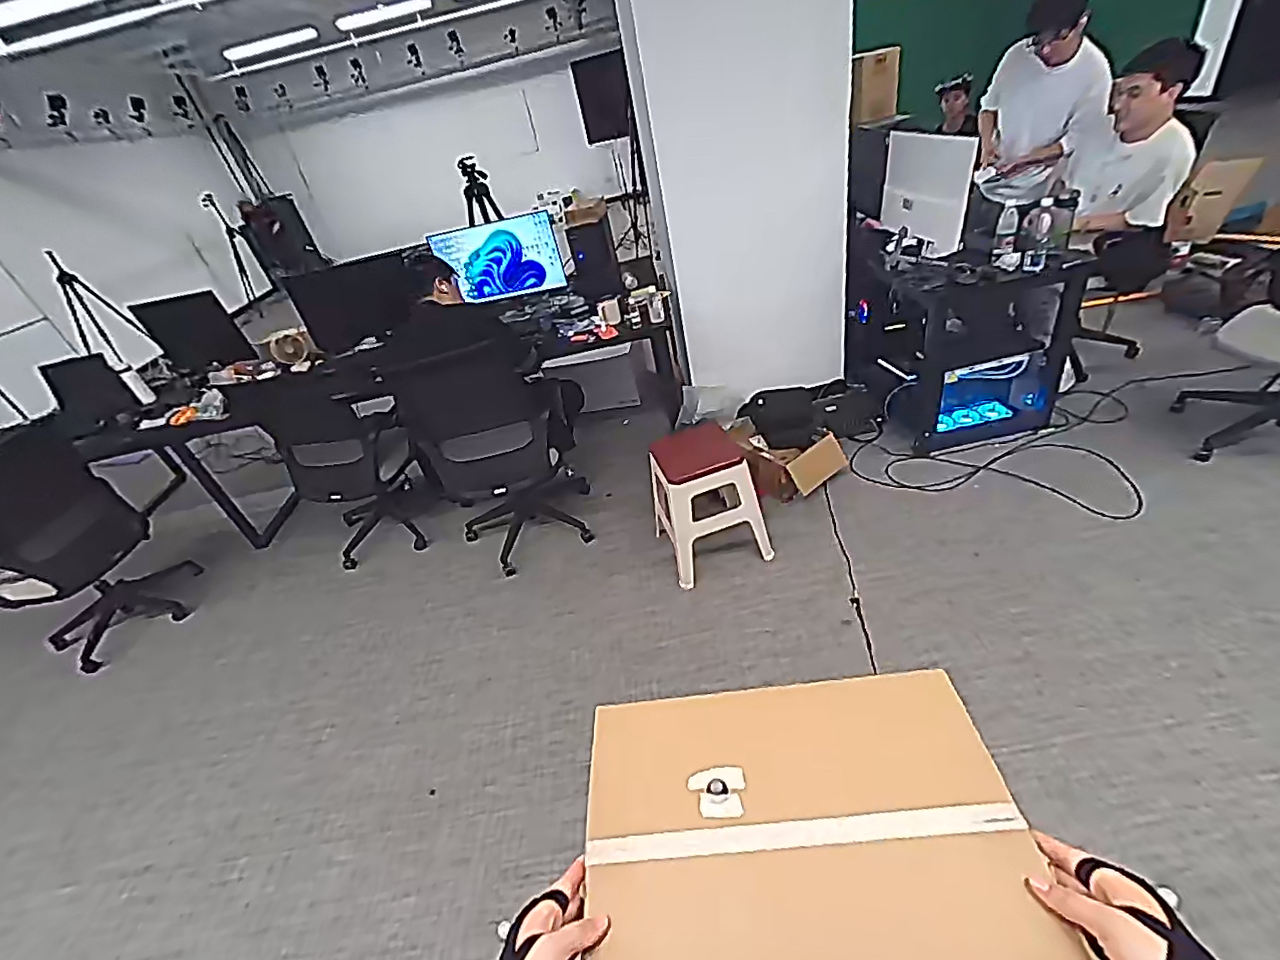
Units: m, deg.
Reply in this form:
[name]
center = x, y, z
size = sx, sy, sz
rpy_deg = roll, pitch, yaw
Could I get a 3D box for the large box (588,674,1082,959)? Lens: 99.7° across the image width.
[large box]
center = 0.177, 0.464, 0.604
size = 0.408, 0.320, 0.320
rpy_deg = -10, 35, 6
